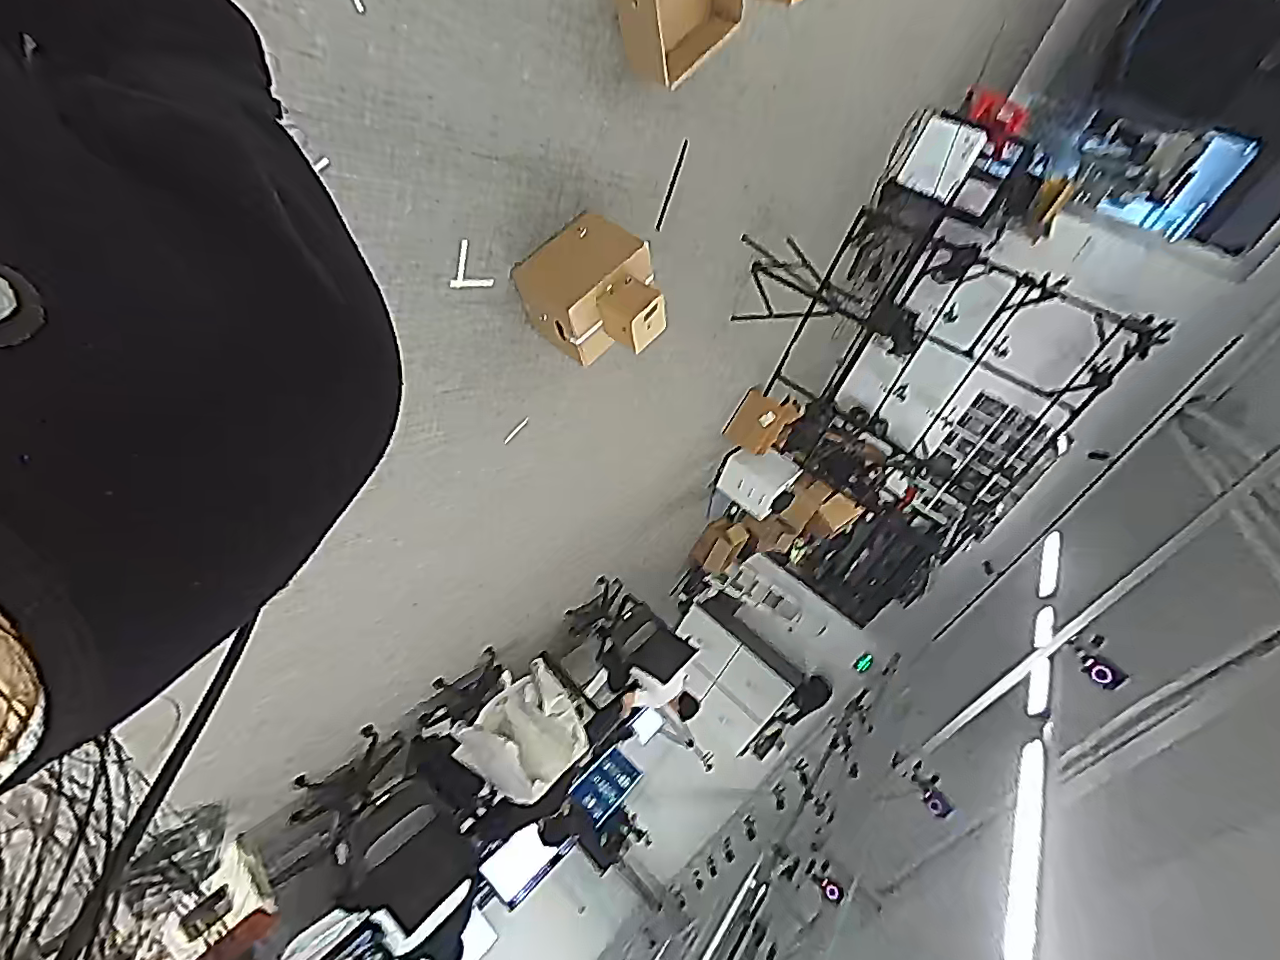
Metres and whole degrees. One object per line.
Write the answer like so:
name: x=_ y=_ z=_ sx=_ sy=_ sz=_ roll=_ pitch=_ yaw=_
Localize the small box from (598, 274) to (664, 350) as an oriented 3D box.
small box: x=-0.033 y=-0.609 z=1.937 sx=0.168 sy=0.176 sz=0.179 roll=-45 pitch=157 yaw=-15
